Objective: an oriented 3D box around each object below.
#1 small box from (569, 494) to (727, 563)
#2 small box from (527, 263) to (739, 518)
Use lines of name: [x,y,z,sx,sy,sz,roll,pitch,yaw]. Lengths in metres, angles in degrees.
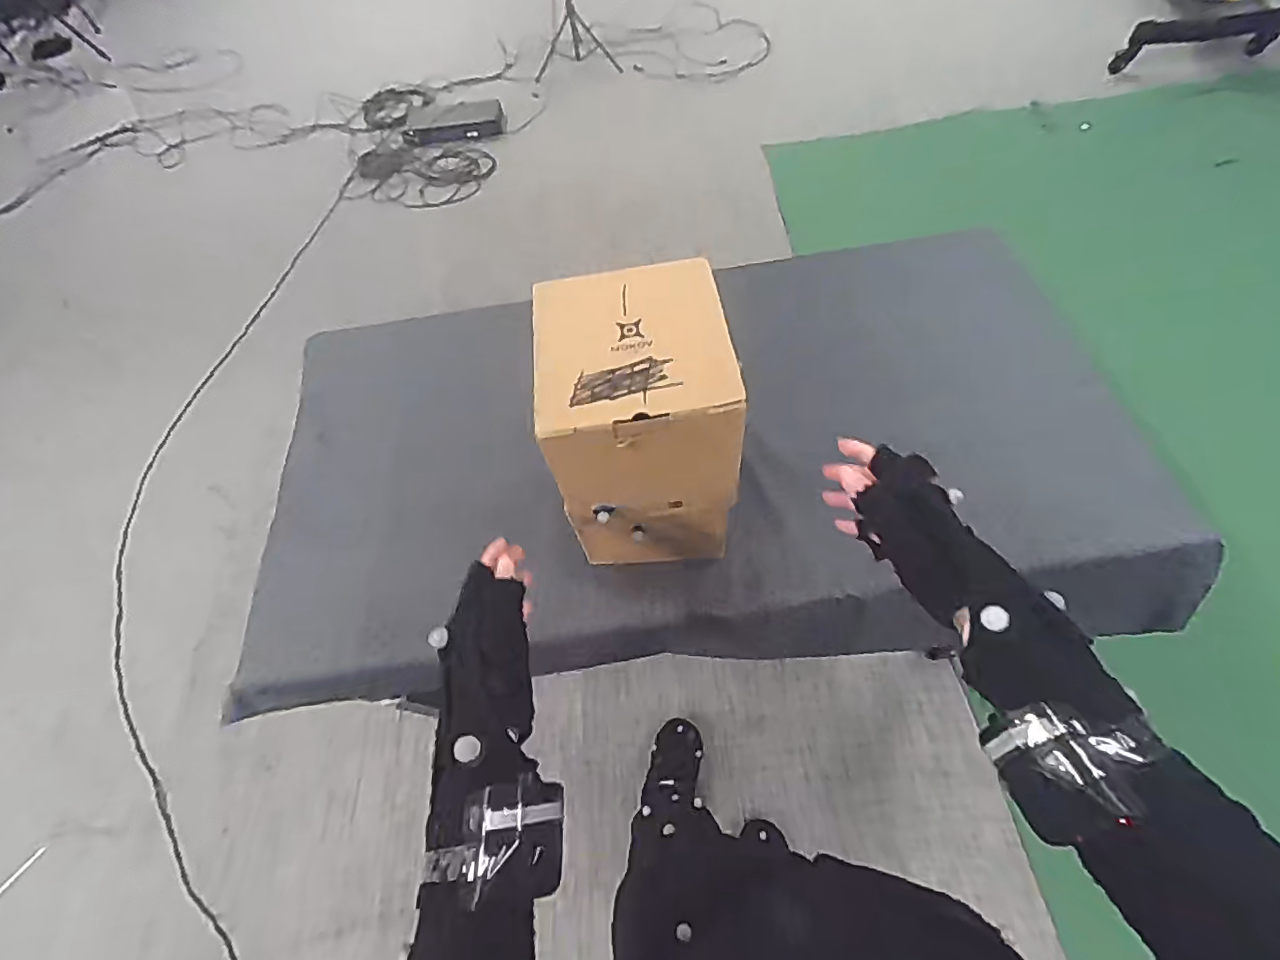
small box: [0.014,-0.005,0.684,0.179,0.176,0.168,-7,58,3]
small box: [-0.004,-0.075,0.533,0.168,0.176,0.179,-11,60,0]
